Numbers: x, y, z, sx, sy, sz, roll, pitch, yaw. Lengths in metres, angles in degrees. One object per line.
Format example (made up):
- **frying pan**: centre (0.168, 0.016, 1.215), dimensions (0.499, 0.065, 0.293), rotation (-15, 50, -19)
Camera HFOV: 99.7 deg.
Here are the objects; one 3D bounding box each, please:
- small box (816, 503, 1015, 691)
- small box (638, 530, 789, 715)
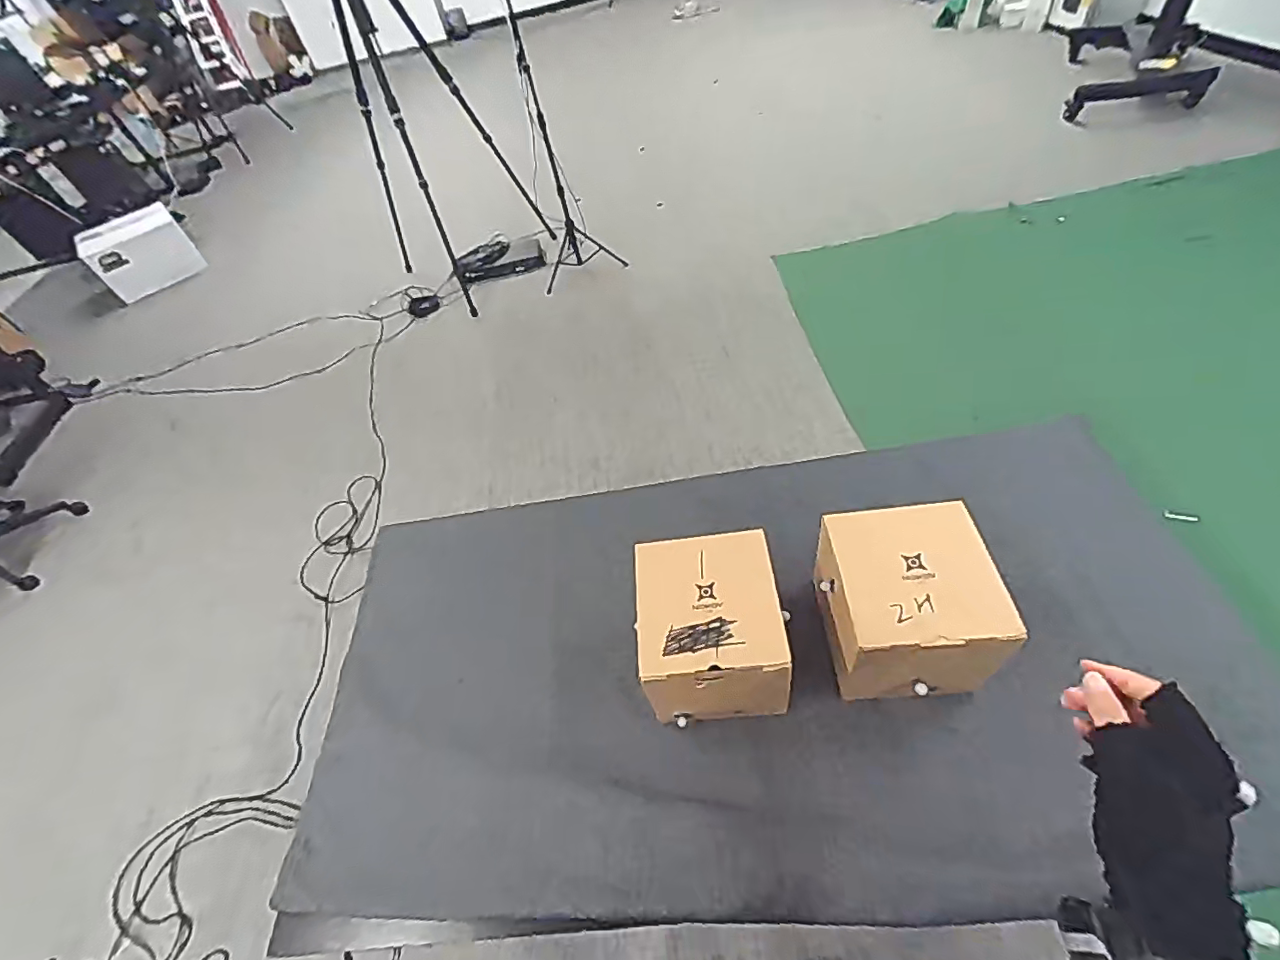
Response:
- **small box**: centre (0.321, 0.150, 0.675), dimensions (0.168, 0.176, 0.179), rotation (-5, 53, 10)
- **small box**: centre (0.093, 0.190, 0.691), dimensions (0.168, 0.176, 0.179), rotation (-8, 49, 7)
